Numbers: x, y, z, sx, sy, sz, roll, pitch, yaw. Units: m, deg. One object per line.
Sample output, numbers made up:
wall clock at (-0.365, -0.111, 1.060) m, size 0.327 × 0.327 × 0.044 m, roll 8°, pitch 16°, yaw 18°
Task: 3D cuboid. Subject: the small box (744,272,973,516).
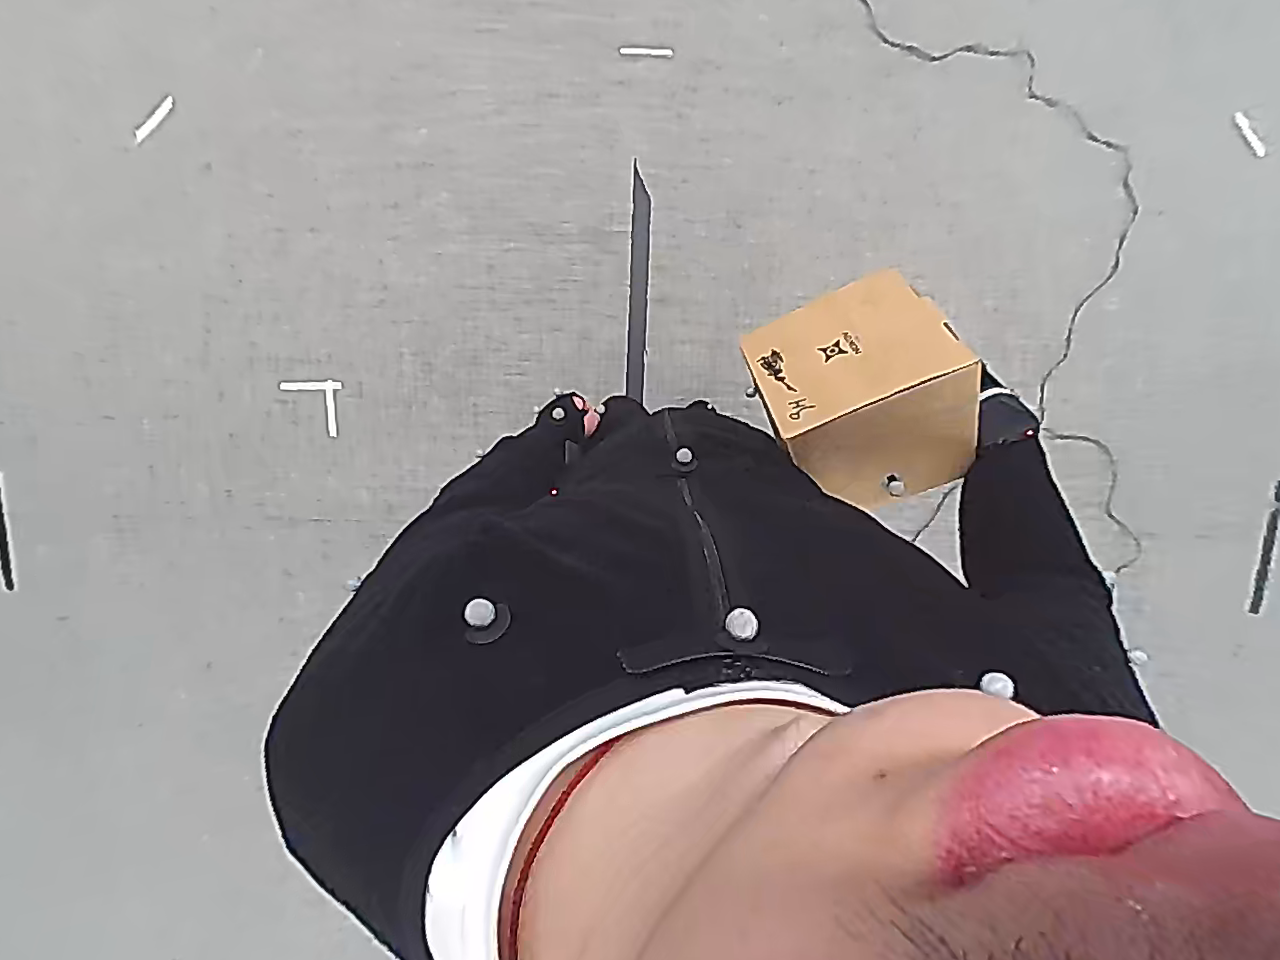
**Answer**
small box at (0.238, -0.088, 0.605) m, size 0.179 × 0.168 × 0.176 m, roll -23°, pitch 137°, yaw 13°
